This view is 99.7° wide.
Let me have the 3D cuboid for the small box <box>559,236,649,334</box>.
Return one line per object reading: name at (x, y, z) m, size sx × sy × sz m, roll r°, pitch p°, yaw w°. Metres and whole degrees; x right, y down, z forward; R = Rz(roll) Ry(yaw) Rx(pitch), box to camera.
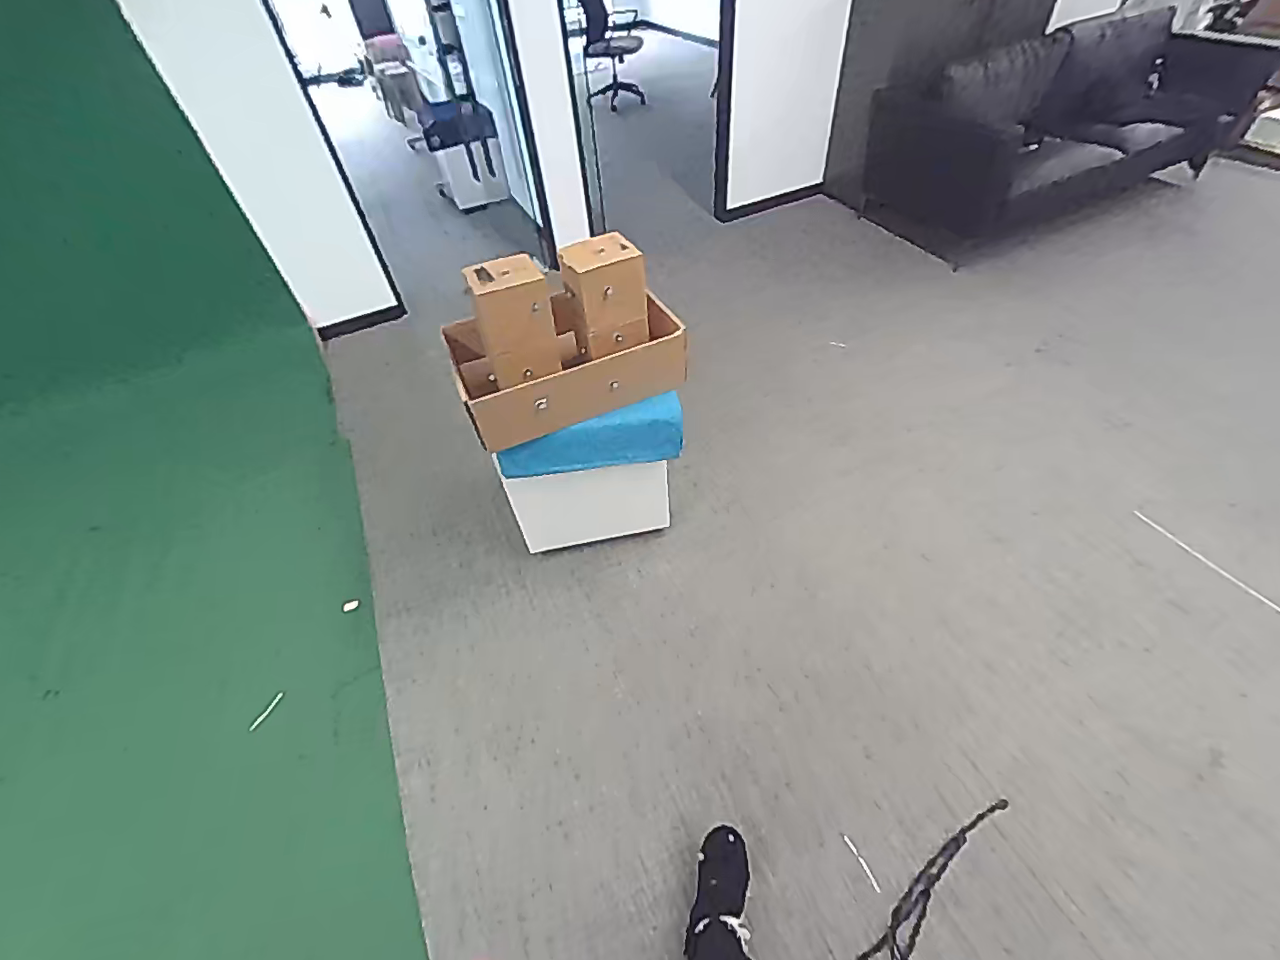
small box at (-0.092, -0.515, 1.438) m, size 0.179 × 0.176 × 0.168 m, roll -23°, pitch 49°, yaw -12°
